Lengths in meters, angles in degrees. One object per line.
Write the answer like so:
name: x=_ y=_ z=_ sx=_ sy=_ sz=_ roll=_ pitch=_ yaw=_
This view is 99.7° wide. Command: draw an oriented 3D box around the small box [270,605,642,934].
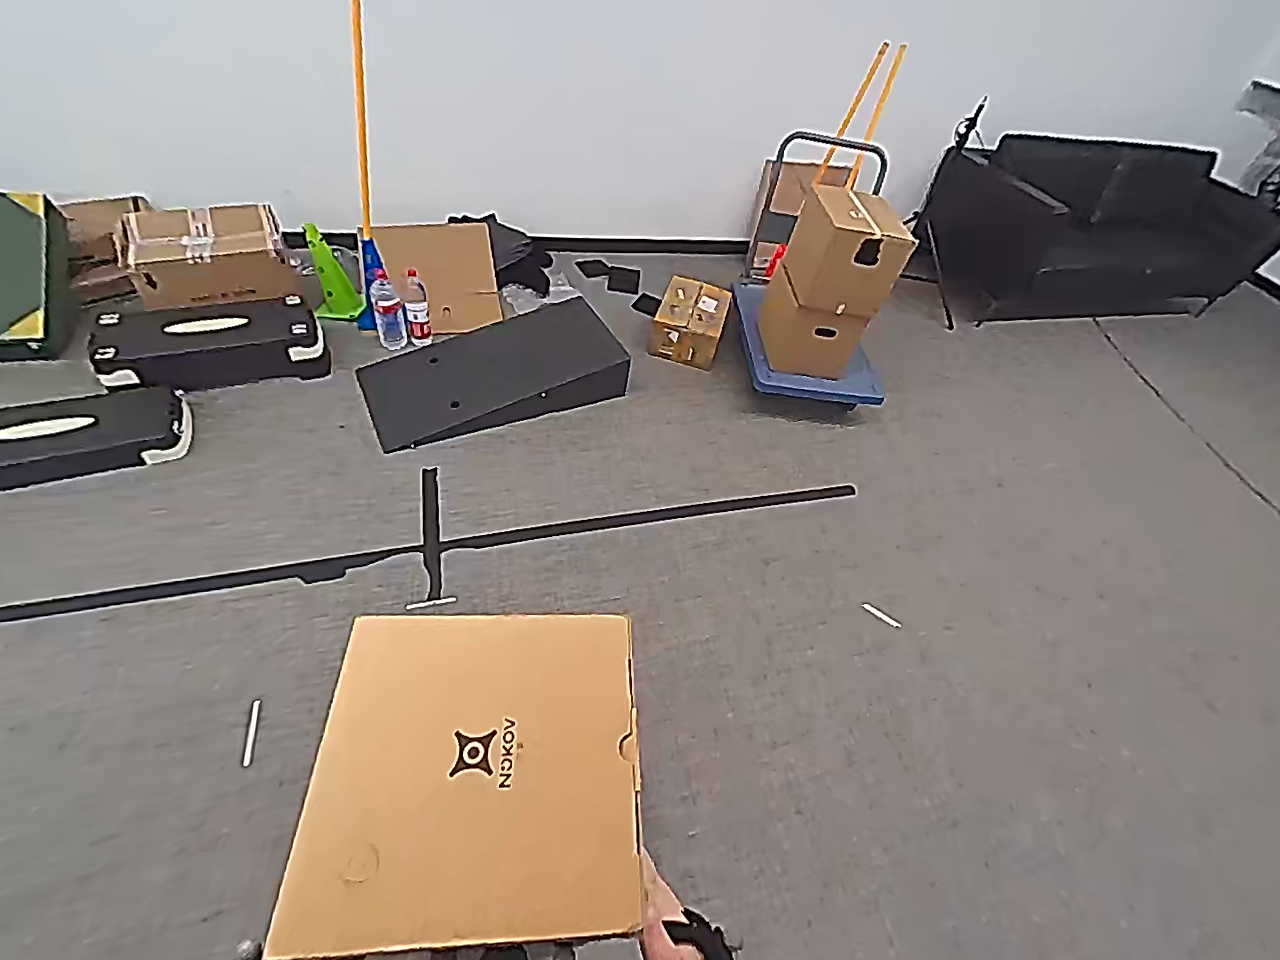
small box: x=-0.097 y=0.197 z=0.367 sx=0.179 sy=0.176 sz=0.168 roll=2 pitch=52 yaw=-8
